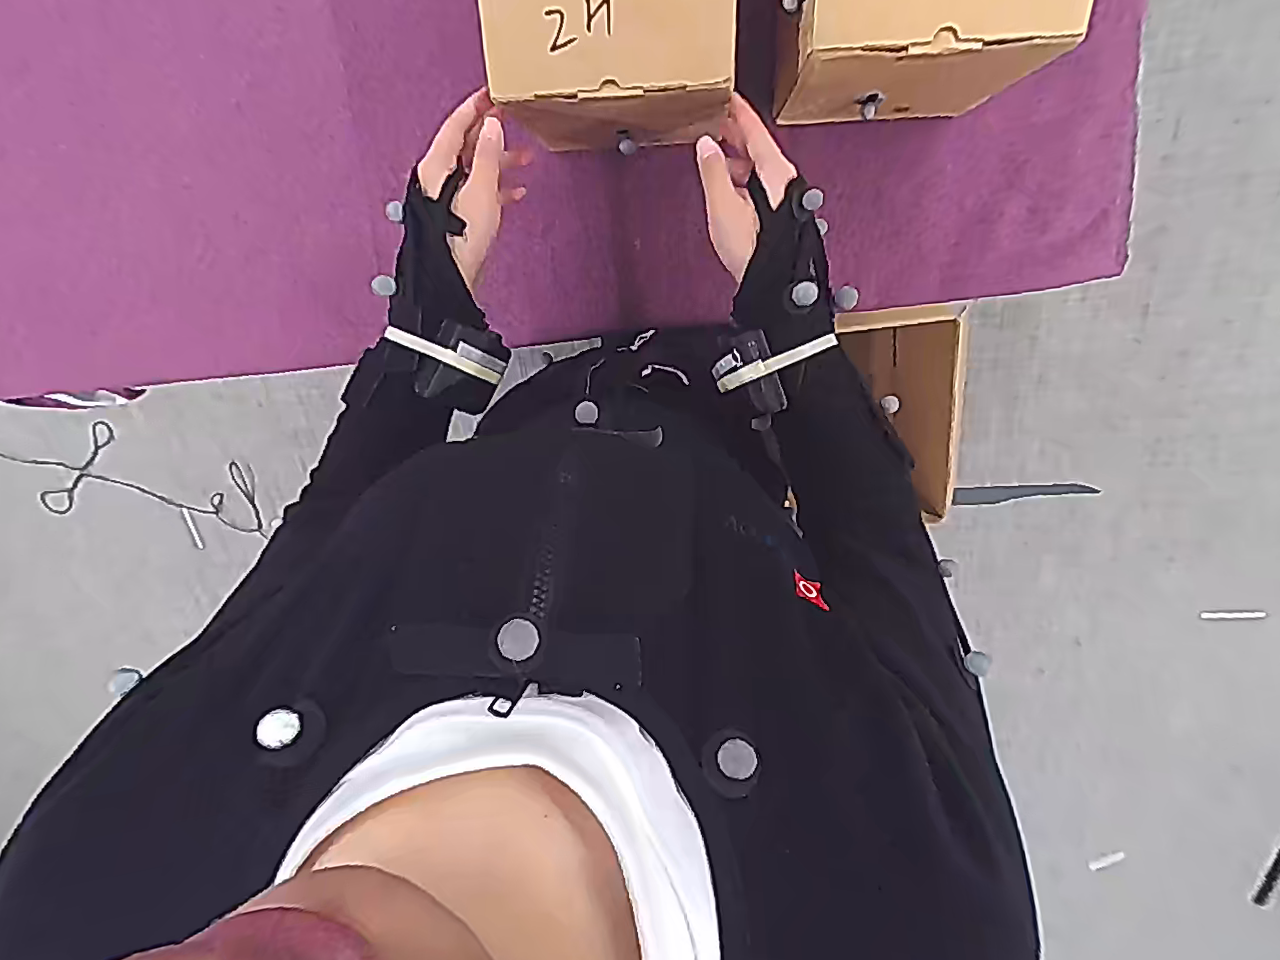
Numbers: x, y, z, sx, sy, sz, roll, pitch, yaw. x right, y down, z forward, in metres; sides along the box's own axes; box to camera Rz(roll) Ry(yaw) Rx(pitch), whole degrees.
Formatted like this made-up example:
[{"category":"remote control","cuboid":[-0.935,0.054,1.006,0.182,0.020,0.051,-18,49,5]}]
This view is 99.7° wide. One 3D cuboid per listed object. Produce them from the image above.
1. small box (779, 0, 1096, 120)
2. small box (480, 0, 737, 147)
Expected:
[{"category":"small box","cuboid":[0.194,-0.379,0.377,0.168,0.176,0.179,0,111,6]},{"category":"small box","cuboid":[-0.016,-0.368,0.402,0.168,0.176,0.179,0,112,5]}]
